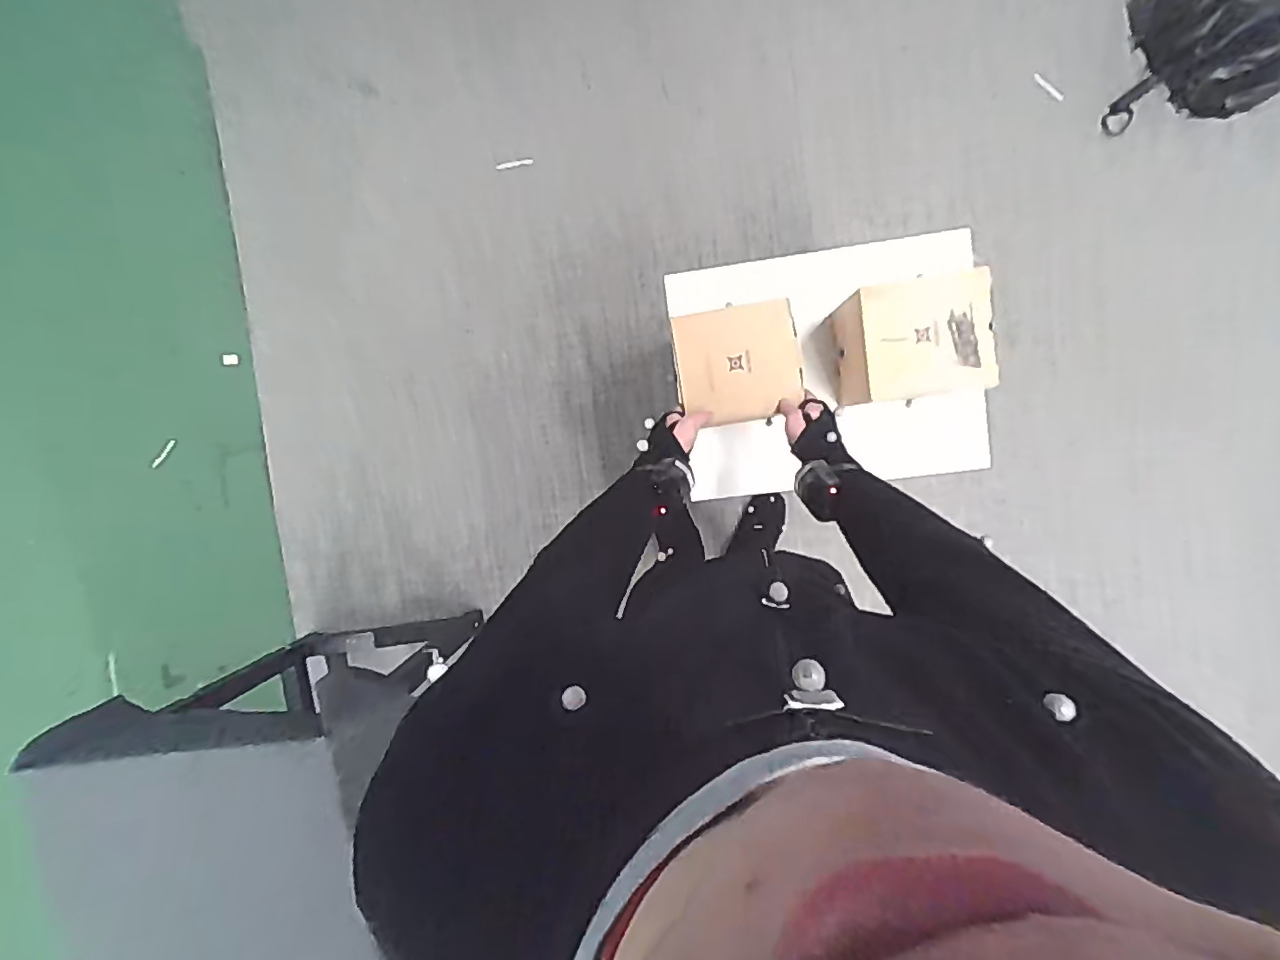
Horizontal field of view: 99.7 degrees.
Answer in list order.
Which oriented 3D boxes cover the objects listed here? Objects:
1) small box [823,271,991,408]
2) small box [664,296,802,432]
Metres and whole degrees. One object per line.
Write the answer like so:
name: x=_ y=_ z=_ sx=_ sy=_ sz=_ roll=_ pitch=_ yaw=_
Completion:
small box: x=0.396 y=-0.204 z=0.827 sx=0.179 sy=0.176 sz=0.168 roll=-7 pitch=93 yaw=5
small box: x=0.135 y=-0.170 z=0.844 sx=0.179 sy=0.176 sz=0.168 roll=-10 pitch=92 yaw=4
